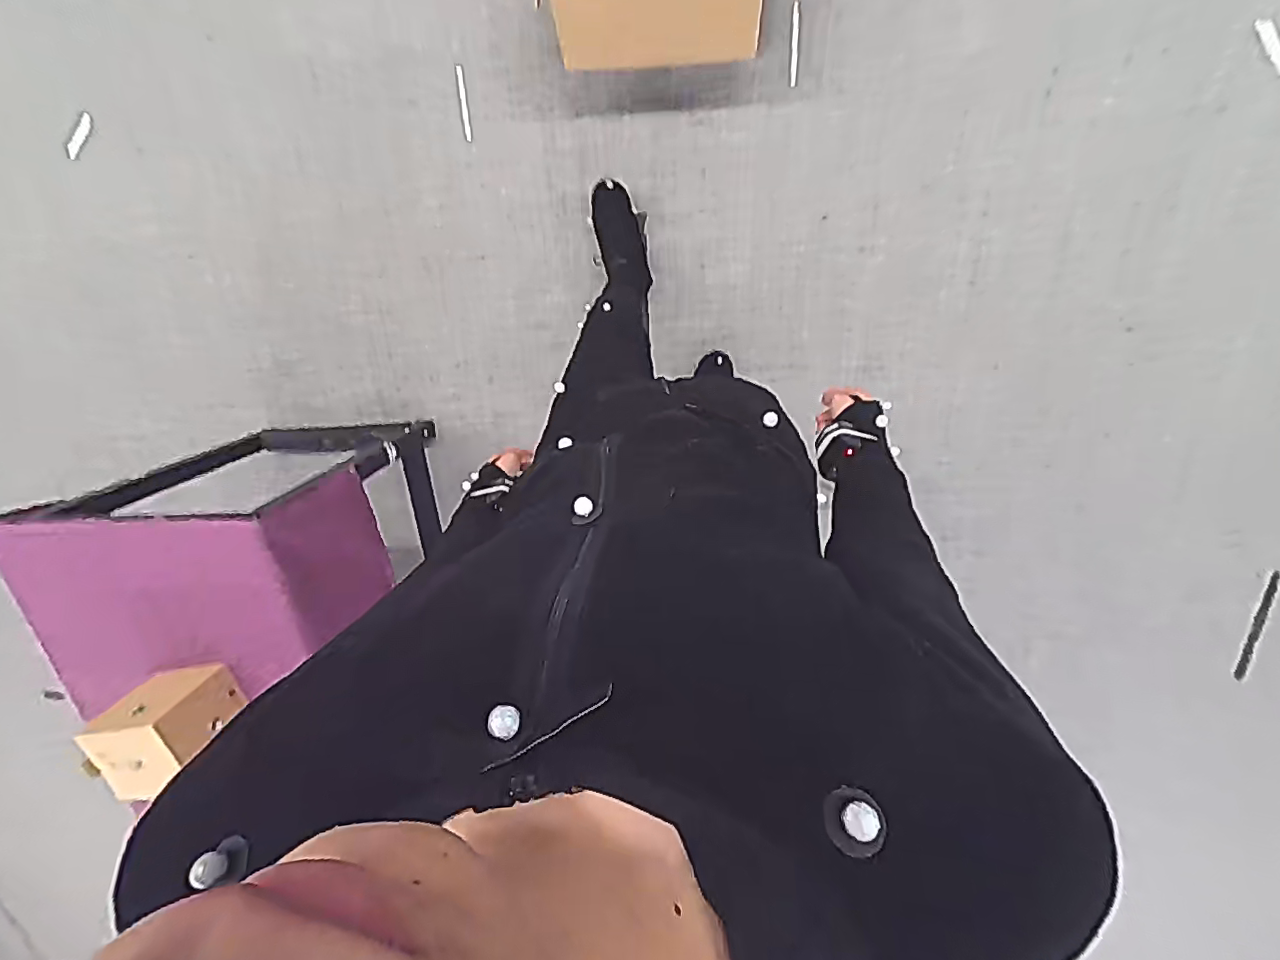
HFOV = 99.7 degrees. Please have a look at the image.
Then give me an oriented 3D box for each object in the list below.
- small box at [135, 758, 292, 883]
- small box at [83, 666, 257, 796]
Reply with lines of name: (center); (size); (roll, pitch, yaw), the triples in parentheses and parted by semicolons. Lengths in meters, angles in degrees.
small box: (-0.907, 0.727, 1.167); (0.179, 0.176, 0.168); (-5, 111, 7)
small box: (-0.912, 0.491, 1.074); (0.179, 0.176, 0.168); (-10, 110, 10)
